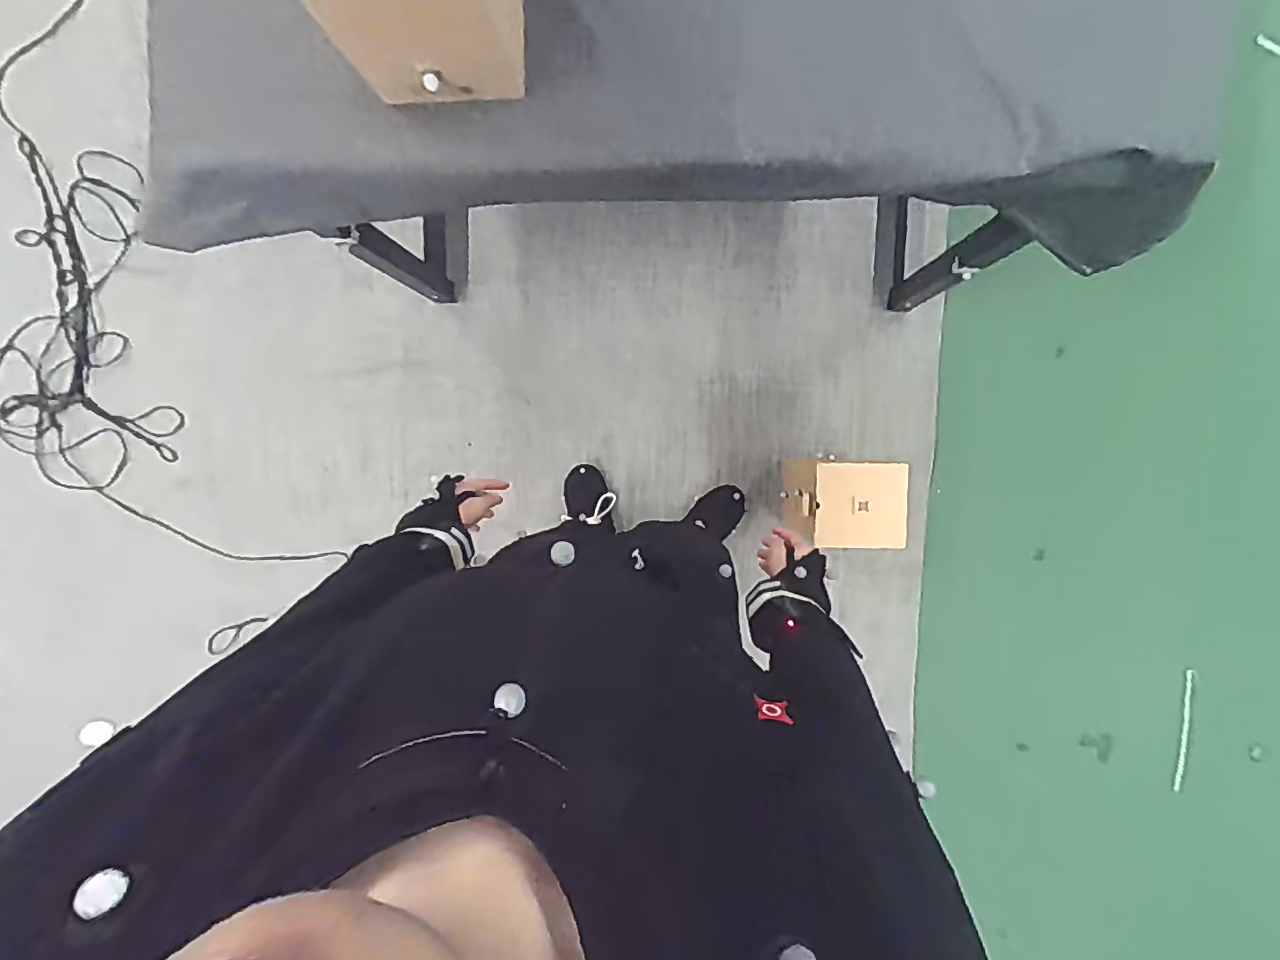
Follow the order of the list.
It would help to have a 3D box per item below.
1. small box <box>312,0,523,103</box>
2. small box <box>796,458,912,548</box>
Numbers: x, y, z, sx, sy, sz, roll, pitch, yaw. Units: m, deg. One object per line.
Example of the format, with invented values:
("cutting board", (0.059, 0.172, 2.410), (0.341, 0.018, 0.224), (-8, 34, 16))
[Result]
("small box", (-0.217, -0.512, 0.529), (0.168, 0.176, 0.179), (0, 95, 3))
("small box", (0.427, 0.040, 1.101), (0.179, 0.176, 0.168), (0, 94, 4))
